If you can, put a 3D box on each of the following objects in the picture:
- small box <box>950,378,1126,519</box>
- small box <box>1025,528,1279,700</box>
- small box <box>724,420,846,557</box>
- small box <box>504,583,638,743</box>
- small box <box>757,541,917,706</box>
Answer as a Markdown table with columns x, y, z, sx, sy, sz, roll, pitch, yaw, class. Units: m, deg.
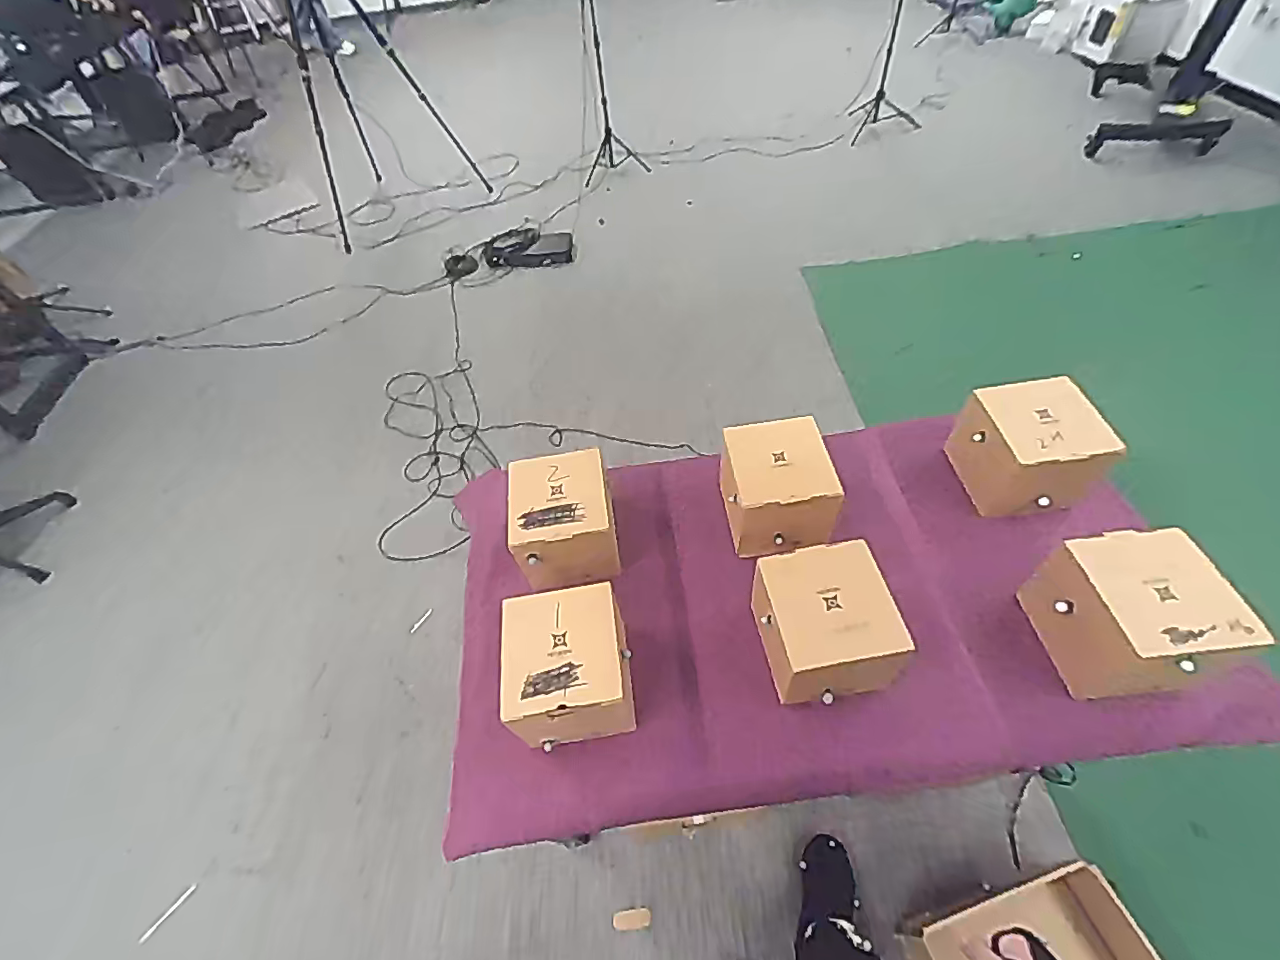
| x | y | z | sx | sy | sz | roll | pitch | yaw | class |
| --- | --- | --- | --- | --- | --- | --- | --- | --- | --- |
| 0.691 | -0.053 | 0.970 | 0.168 | 0.176 | 0.179 | -9 | 53 | 4 | small box |
| 0.703 | 0.195 | 0.777 | 0.168 | 0.176 | 0.179 | -8 | 49 | 4 | small box |
| 0.249 | 0.017 | 0.981 | 0.168 | 0.176 | 0.179 | -8 | 53 | 1 | small box |
| -0.099 | 0.283 | 0.817 | 0.168 | 0.176 | 0.179 | -10 | 50 | -1 | small box |
| 0.279 | 0.219 | 0.819 | 0.168 | 0.176 | 0.179 | -10 | 51 | 1 | small box |
